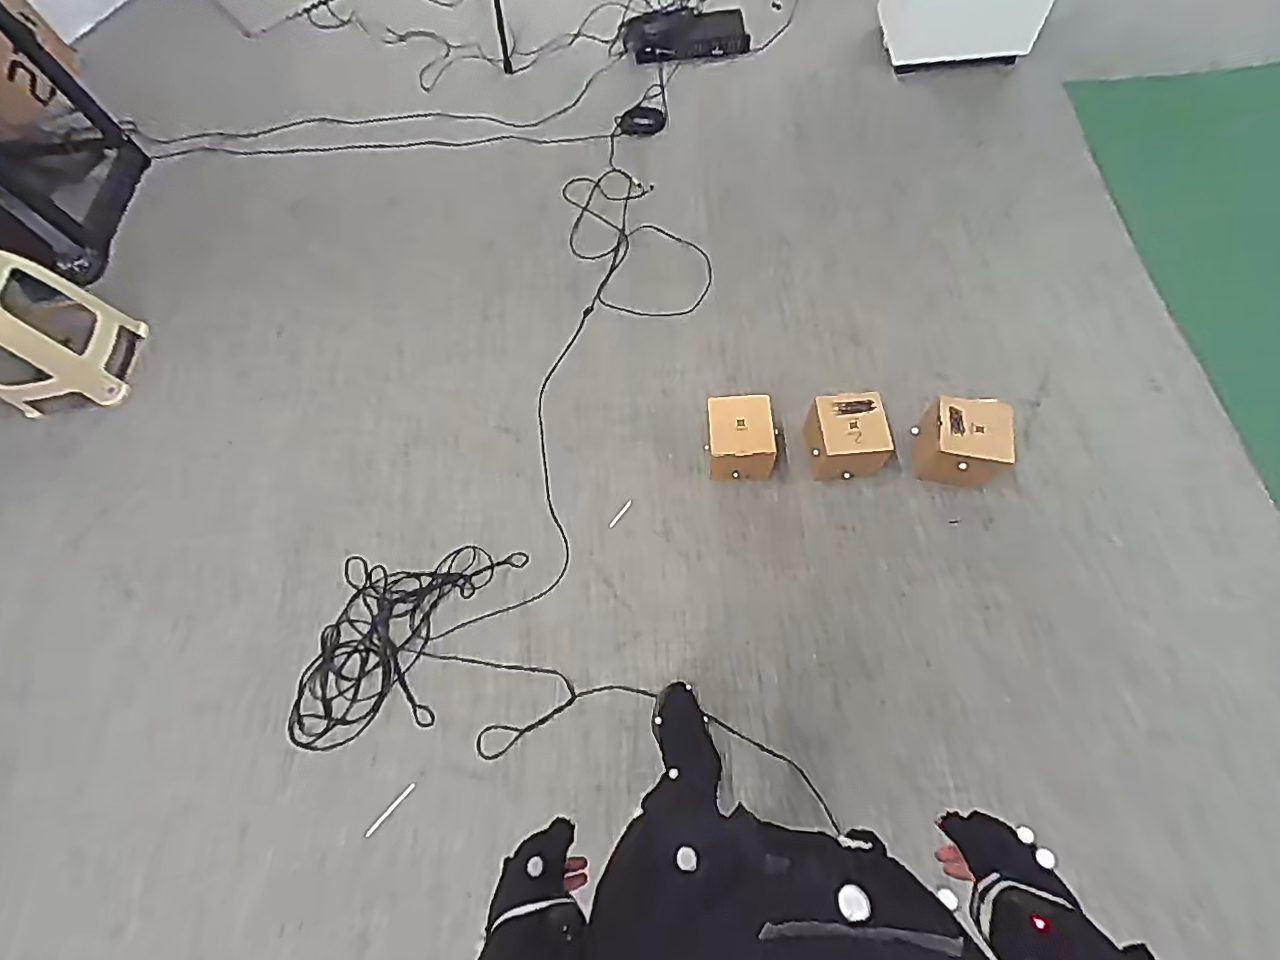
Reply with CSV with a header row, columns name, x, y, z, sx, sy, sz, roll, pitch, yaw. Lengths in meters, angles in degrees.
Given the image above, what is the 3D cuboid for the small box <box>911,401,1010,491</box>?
name,x,y,z,sx,sy,sz,roll,pitch,yaw
small box,0.835,-0.085,1.423,0.179,0.176,0.168,11,67,9

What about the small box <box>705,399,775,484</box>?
name,x,y,z,sx,sy,sz,roll,pitch,yaw
small box,0.267,-0.103,1.485,0.168,0.176,0.179,-3,66,4
